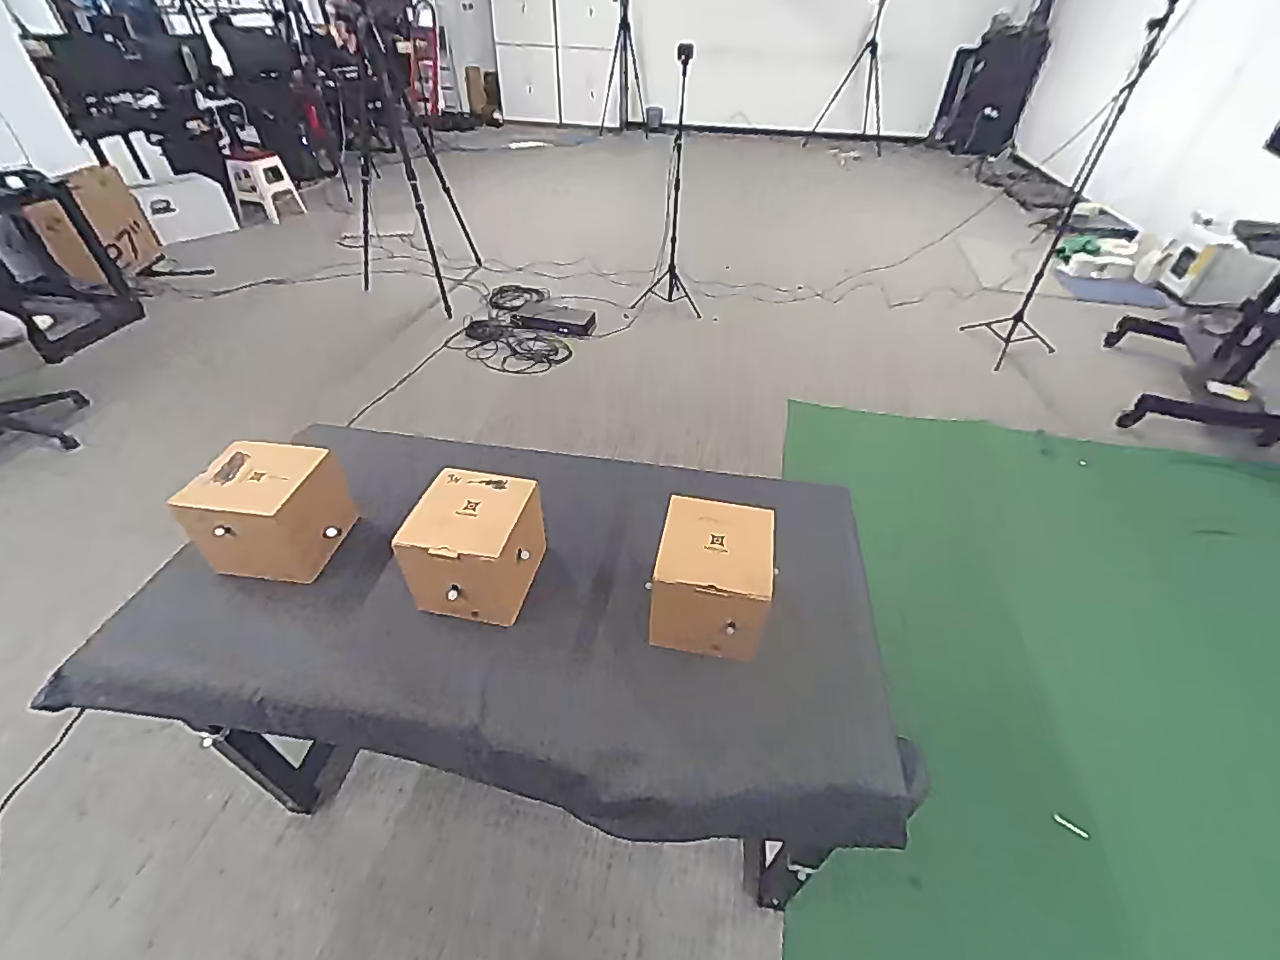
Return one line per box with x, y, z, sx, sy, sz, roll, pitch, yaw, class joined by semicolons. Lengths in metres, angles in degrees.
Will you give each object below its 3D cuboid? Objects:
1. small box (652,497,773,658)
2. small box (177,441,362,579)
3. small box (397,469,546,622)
0.113;0.155;0.855;0.168;0.176;0.179;9;41;7;small box
-0.625;0.054;0.939;0.179;0.176;0.168;6;42;3;small box
-0.261;0.109;0.892;0.168;0.176;0.179;8;42;7;small box
